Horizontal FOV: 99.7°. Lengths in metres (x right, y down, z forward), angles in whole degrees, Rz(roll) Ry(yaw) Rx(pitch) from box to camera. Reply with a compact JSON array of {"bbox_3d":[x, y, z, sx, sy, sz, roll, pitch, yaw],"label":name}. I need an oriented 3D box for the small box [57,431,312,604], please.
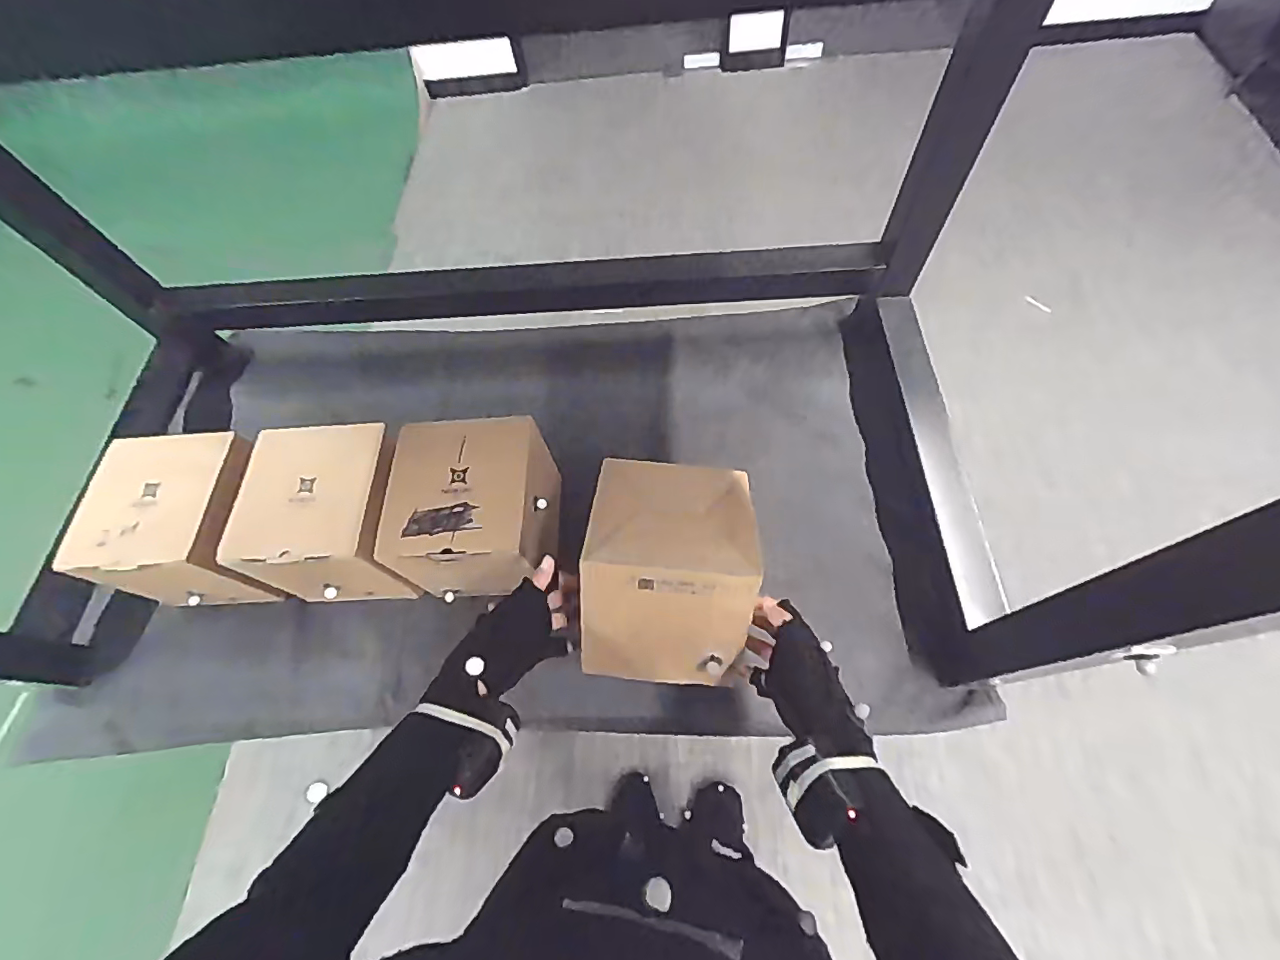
[{"bbox_3d":[-0.575,0.055,0.716,0.168,0.176,0.179,-4,63,4],"label":"small box"}]
